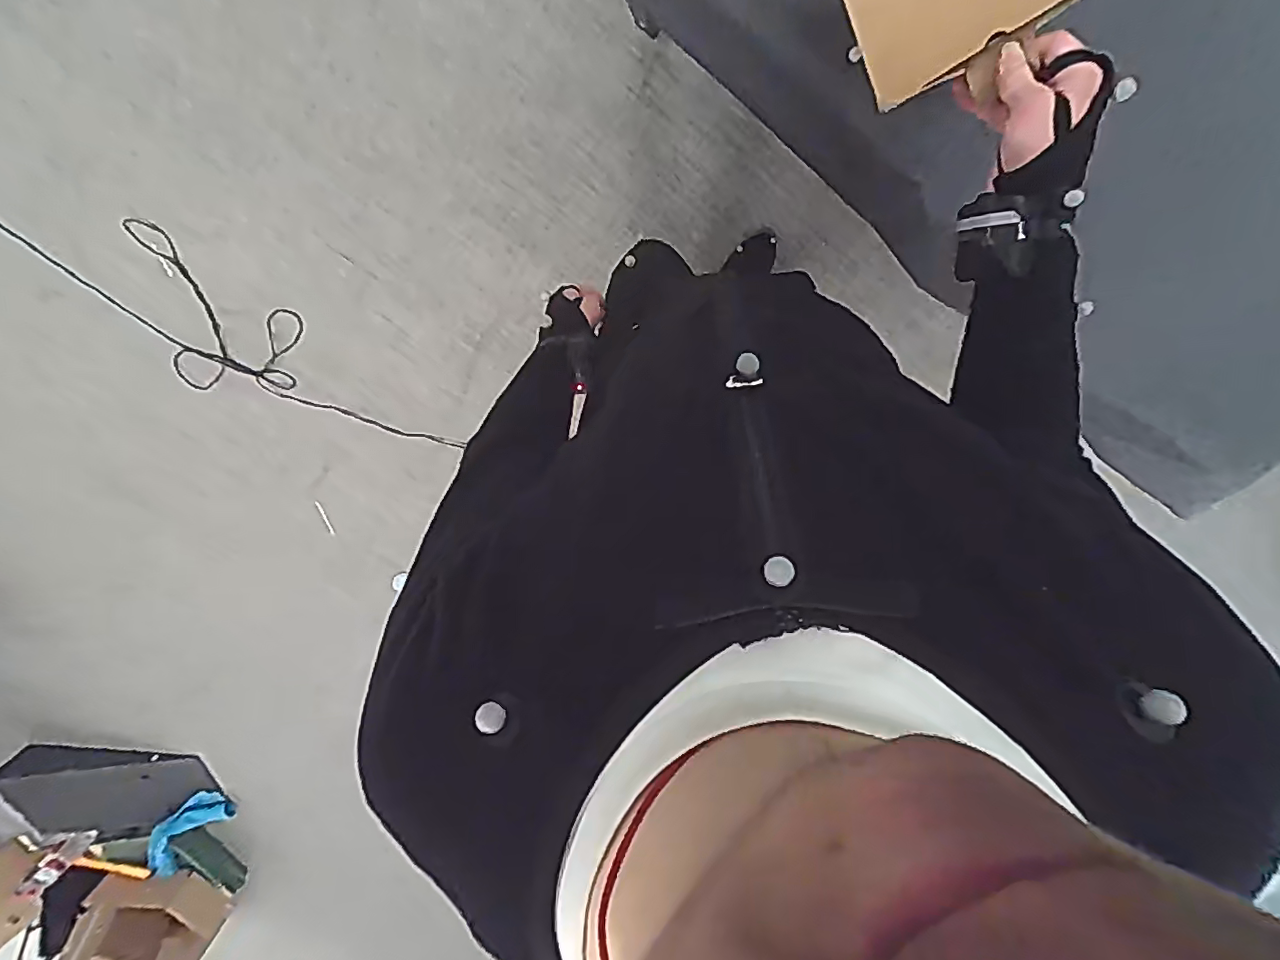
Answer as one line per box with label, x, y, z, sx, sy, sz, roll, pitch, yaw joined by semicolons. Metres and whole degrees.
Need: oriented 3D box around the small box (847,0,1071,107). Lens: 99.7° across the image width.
small box;0.246;-0.440;0.419;0.168;0.176;0.179;-17;122;35
